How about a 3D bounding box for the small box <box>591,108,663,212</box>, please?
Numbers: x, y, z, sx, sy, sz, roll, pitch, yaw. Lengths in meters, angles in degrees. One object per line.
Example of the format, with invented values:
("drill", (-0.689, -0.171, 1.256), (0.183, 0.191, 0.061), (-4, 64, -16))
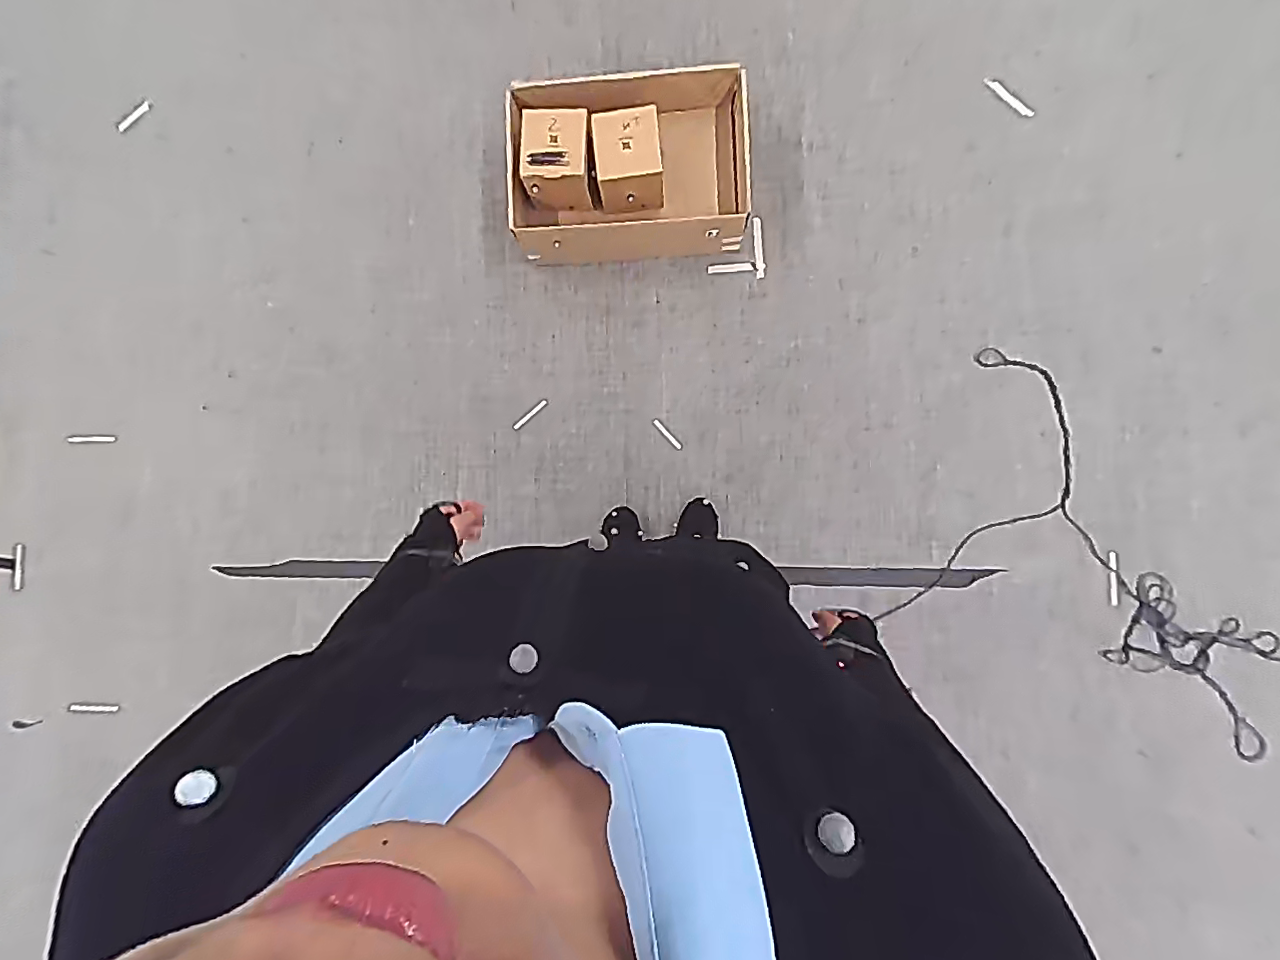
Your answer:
("small box", (-0.029, -0.831, 1.425), (0.168, 0.176, 0.179), (-6, 87, 3))
